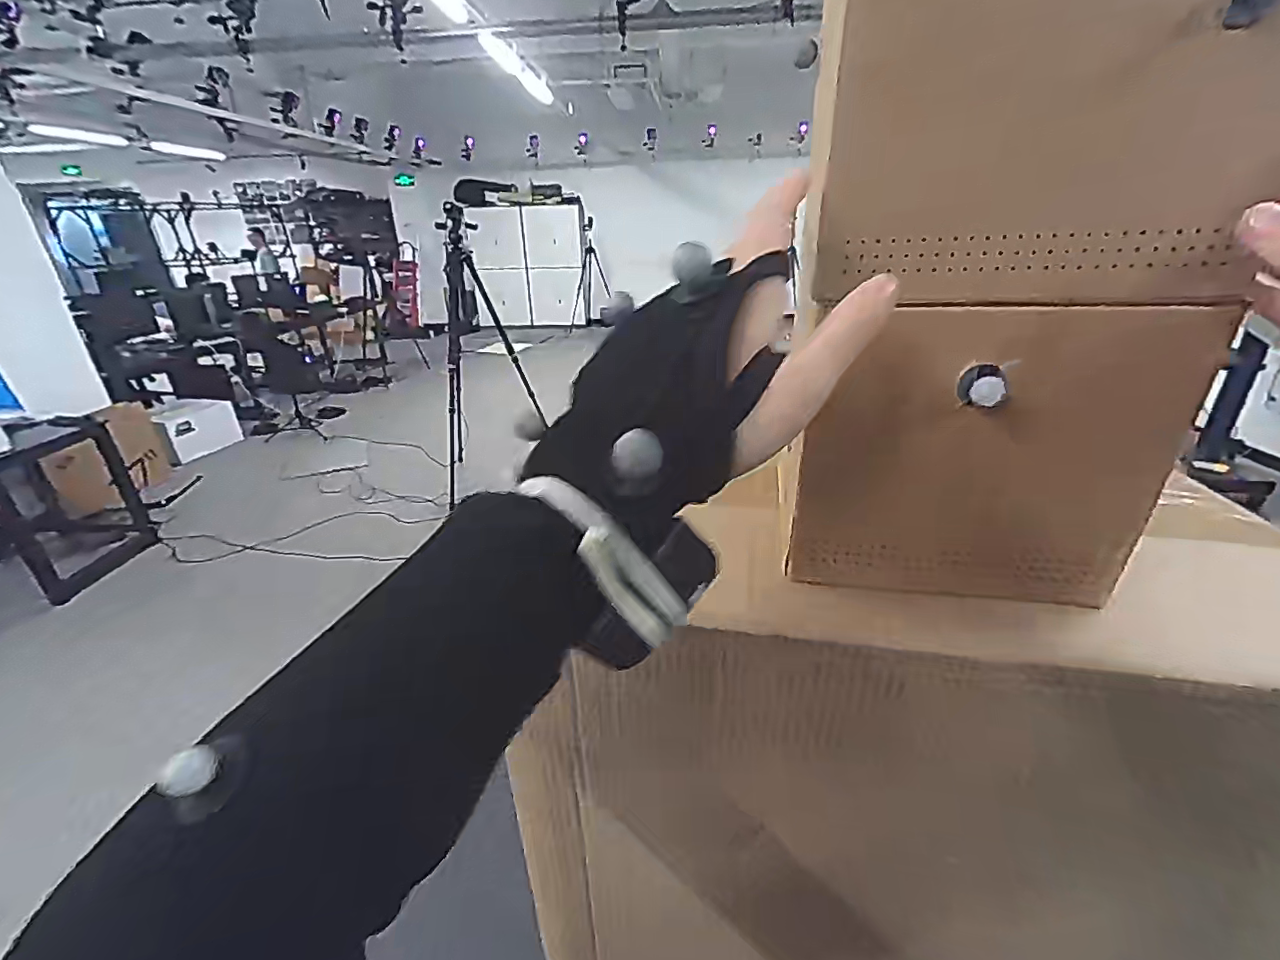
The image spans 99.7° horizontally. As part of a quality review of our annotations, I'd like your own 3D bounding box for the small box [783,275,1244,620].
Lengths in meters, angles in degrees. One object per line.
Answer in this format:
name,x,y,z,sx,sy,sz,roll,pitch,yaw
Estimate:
small box,0.191,-0.030,0.349,0.179,0.176,0.168,3,28,11
